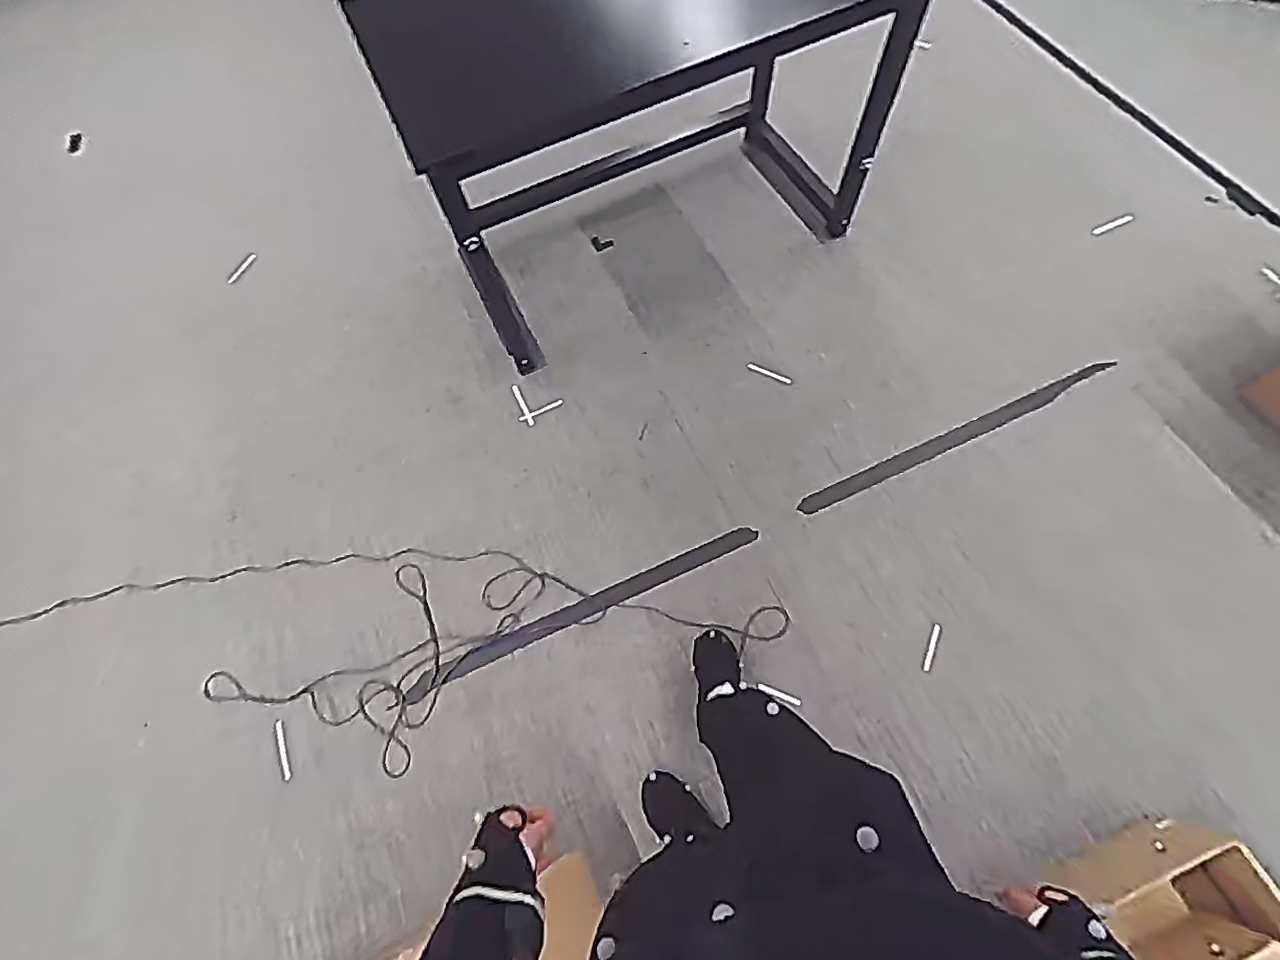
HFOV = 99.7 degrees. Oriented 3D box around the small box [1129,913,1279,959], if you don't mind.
[{"bbox_3d":[1.057,0.926,0.969,0.179,0.176,0.168,-24,66,-4],"label":"small box"}]
